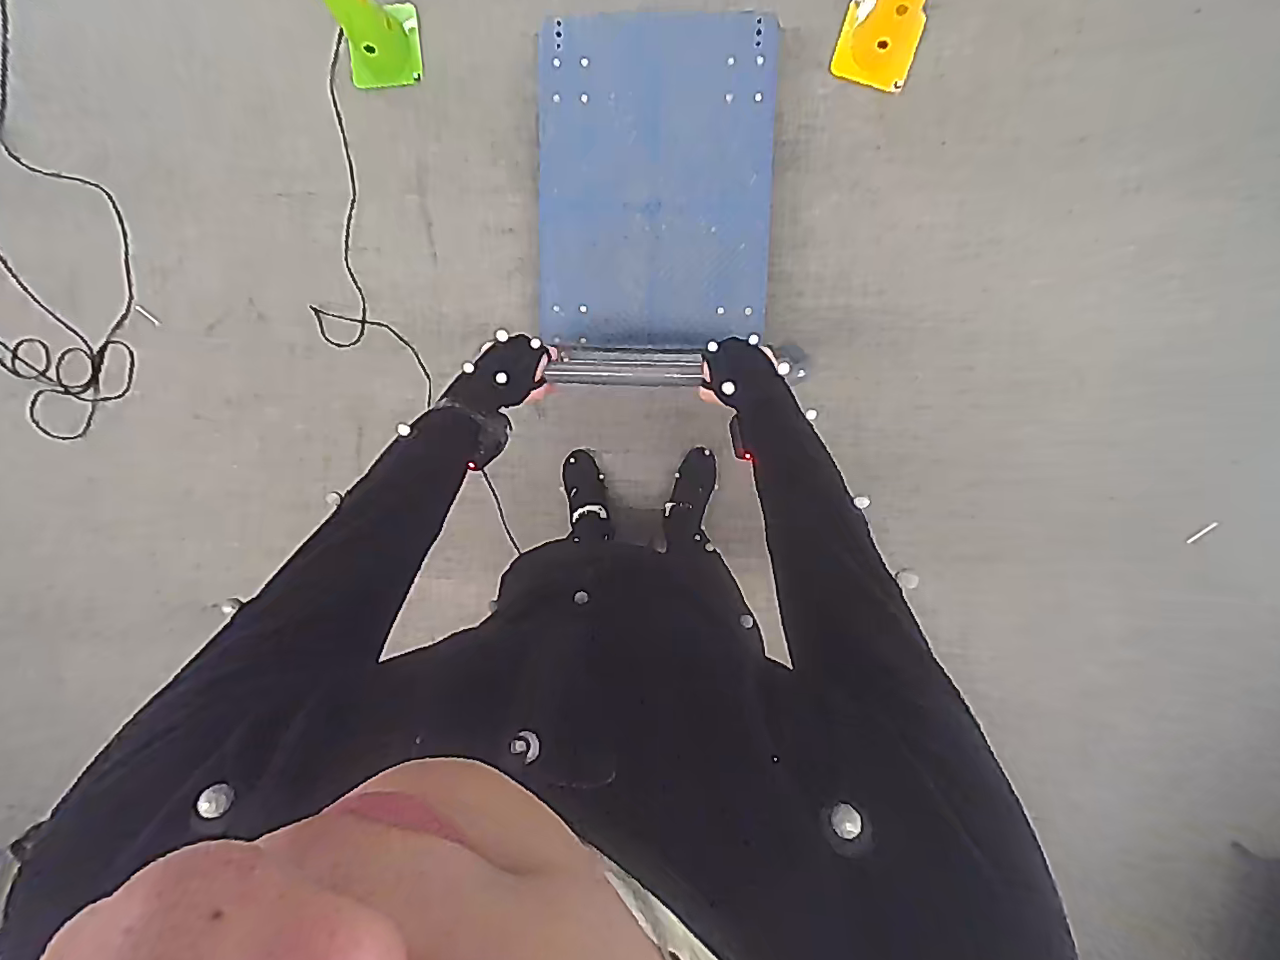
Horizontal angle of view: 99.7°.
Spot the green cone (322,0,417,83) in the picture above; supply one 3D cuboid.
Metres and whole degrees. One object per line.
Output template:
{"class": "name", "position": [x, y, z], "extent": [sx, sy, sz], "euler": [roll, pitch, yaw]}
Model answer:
{"class": "green cone", "position": [-0.726, -1.178, 1.303], "extent": [0.202, 0.368, 0.200], "euler": [-3, 98, 6]}
